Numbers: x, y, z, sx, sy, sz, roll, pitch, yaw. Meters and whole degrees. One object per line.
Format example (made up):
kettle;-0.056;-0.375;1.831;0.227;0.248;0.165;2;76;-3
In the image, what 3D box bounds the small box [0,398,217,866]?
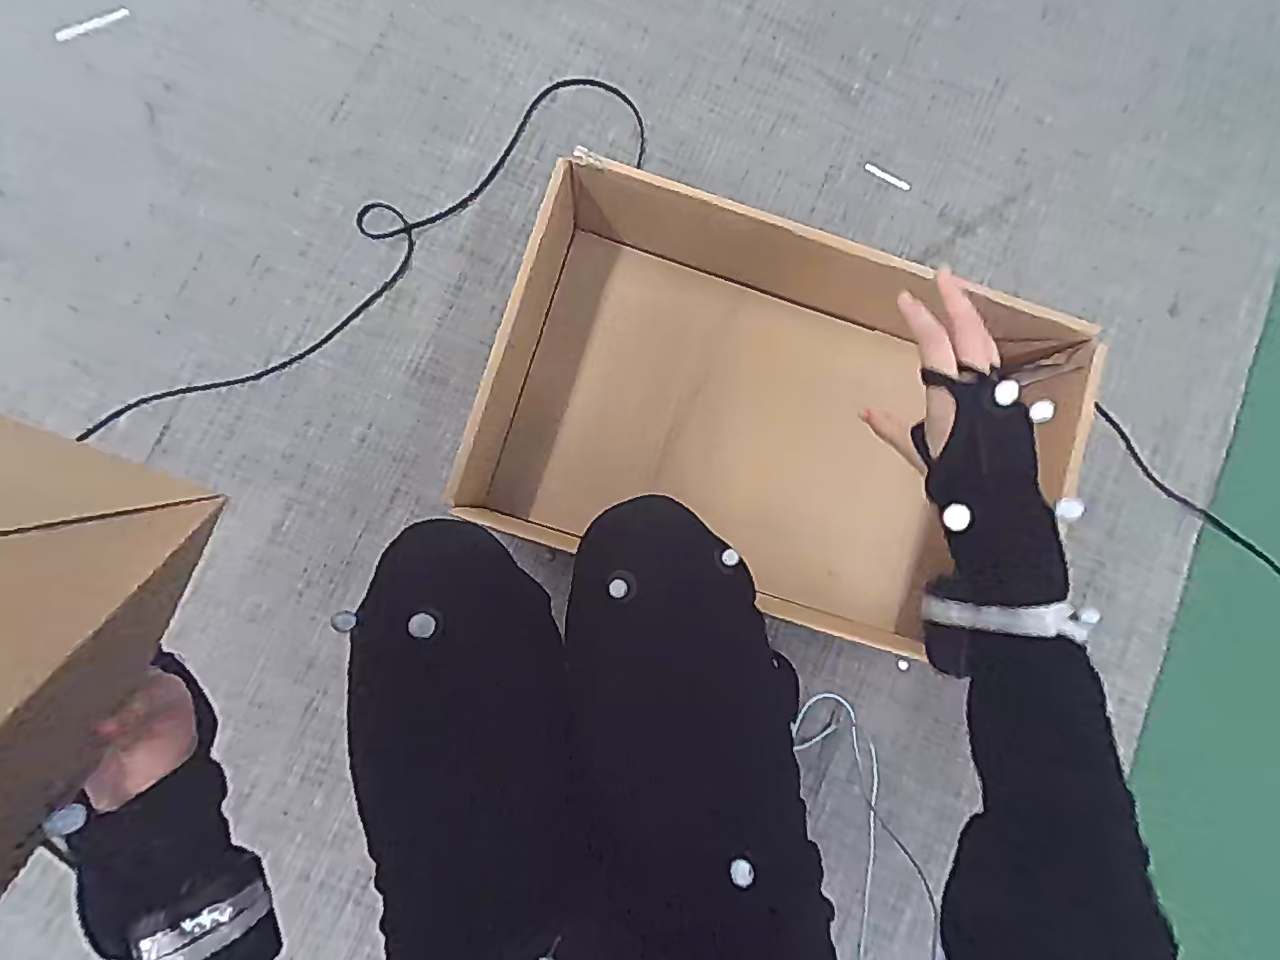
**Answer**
small box;-0.277;0.061;0.162;0.168;0.179;0.176;28;100;-25
